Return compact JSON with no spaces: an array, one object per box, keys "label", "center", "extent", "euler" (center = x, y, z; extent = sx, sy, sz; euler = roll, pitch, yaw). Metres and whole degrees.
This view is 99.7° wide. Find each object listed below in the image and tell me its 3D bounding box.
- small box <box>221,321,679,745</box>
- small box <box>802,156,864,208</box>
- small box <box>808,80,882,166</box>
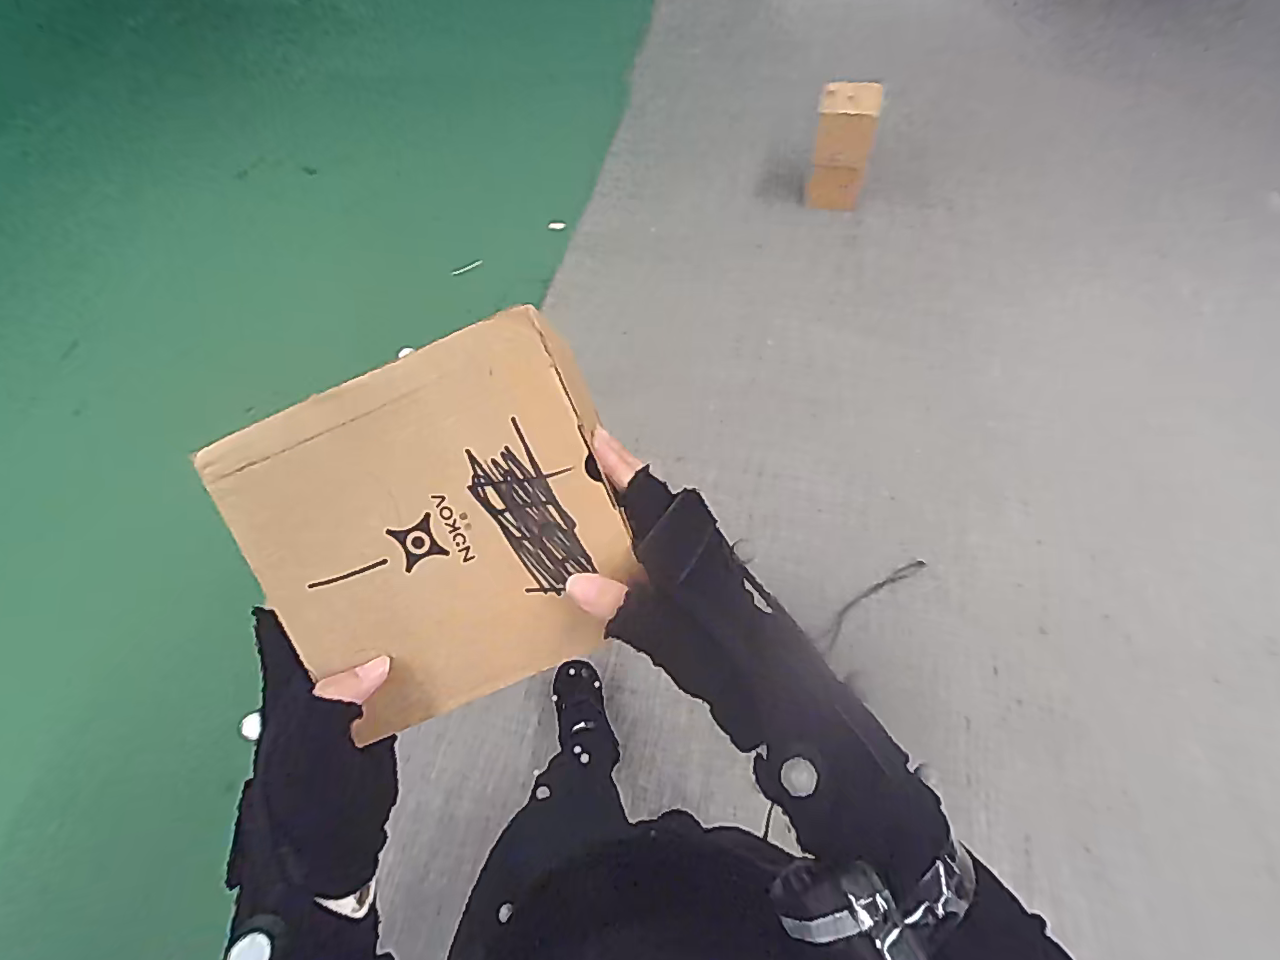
[{"label":"small box","center":[-0.094,0.019,0.348],"extent":[0.179,0.176,0.168],"euler":[-26,97,1]},{"label":"small box","center":[0.673,-1.075,1.887],"extent":[0.179,0.176,0.168],"euler":[8,65,12]},{"label":"small box","center":[0.654,-1.141,1.738],"extent":[0.179,0.176,0.168],"euler":[13,66,12]}]
